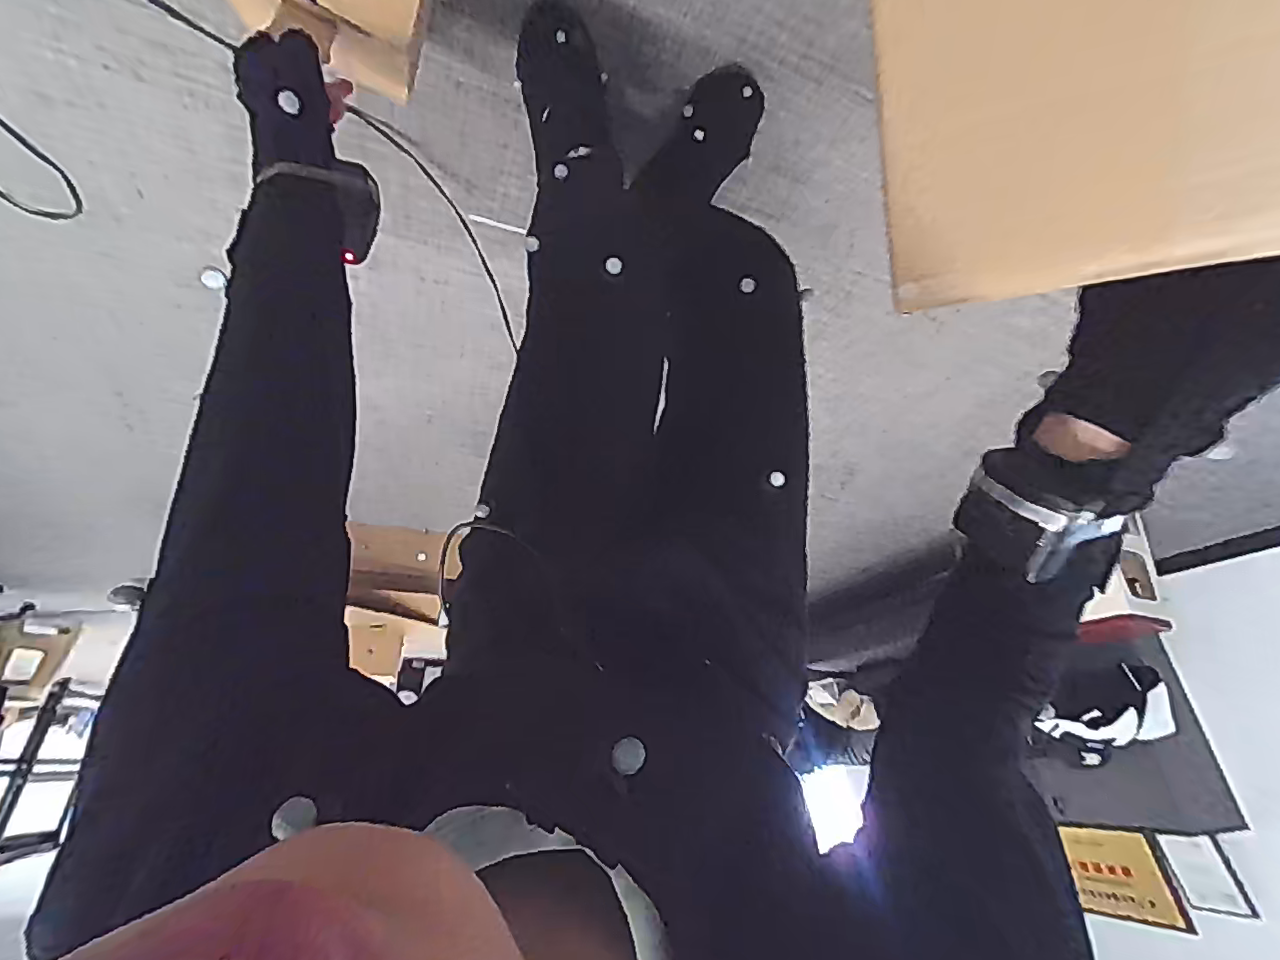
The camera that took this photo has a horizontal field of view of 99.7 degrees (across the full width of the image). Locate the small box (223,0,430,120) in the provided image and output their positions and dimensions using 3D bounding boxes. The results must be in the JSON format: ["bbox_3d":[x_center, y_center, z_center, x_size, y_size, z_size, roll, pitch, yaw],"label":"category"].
[{"bbox_3d":[-0.299,-0.500,0.527,0.168,0.179,0.176,13,-169,-27],"label":"small box"}]
